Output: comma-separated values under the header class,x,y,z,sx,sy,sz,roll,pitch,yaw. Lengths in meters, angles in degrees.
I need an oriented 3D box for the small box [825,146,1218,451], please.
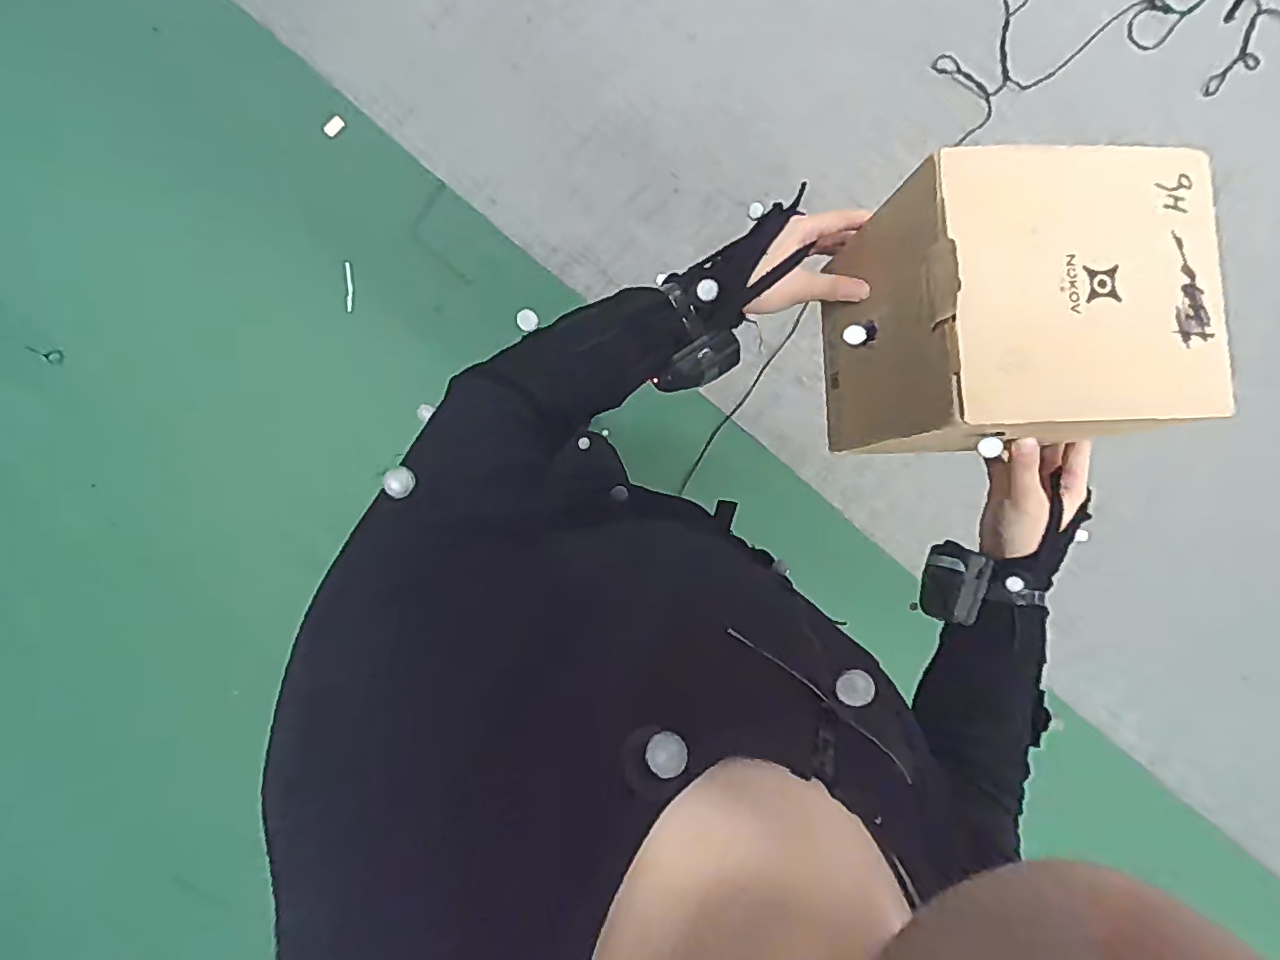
class,x,y,z,sx,sy,sz,roll,pitch,yaw
small box,0.250,-0.114,0.402,0.179,0.176,0.168,-2,87,-4
